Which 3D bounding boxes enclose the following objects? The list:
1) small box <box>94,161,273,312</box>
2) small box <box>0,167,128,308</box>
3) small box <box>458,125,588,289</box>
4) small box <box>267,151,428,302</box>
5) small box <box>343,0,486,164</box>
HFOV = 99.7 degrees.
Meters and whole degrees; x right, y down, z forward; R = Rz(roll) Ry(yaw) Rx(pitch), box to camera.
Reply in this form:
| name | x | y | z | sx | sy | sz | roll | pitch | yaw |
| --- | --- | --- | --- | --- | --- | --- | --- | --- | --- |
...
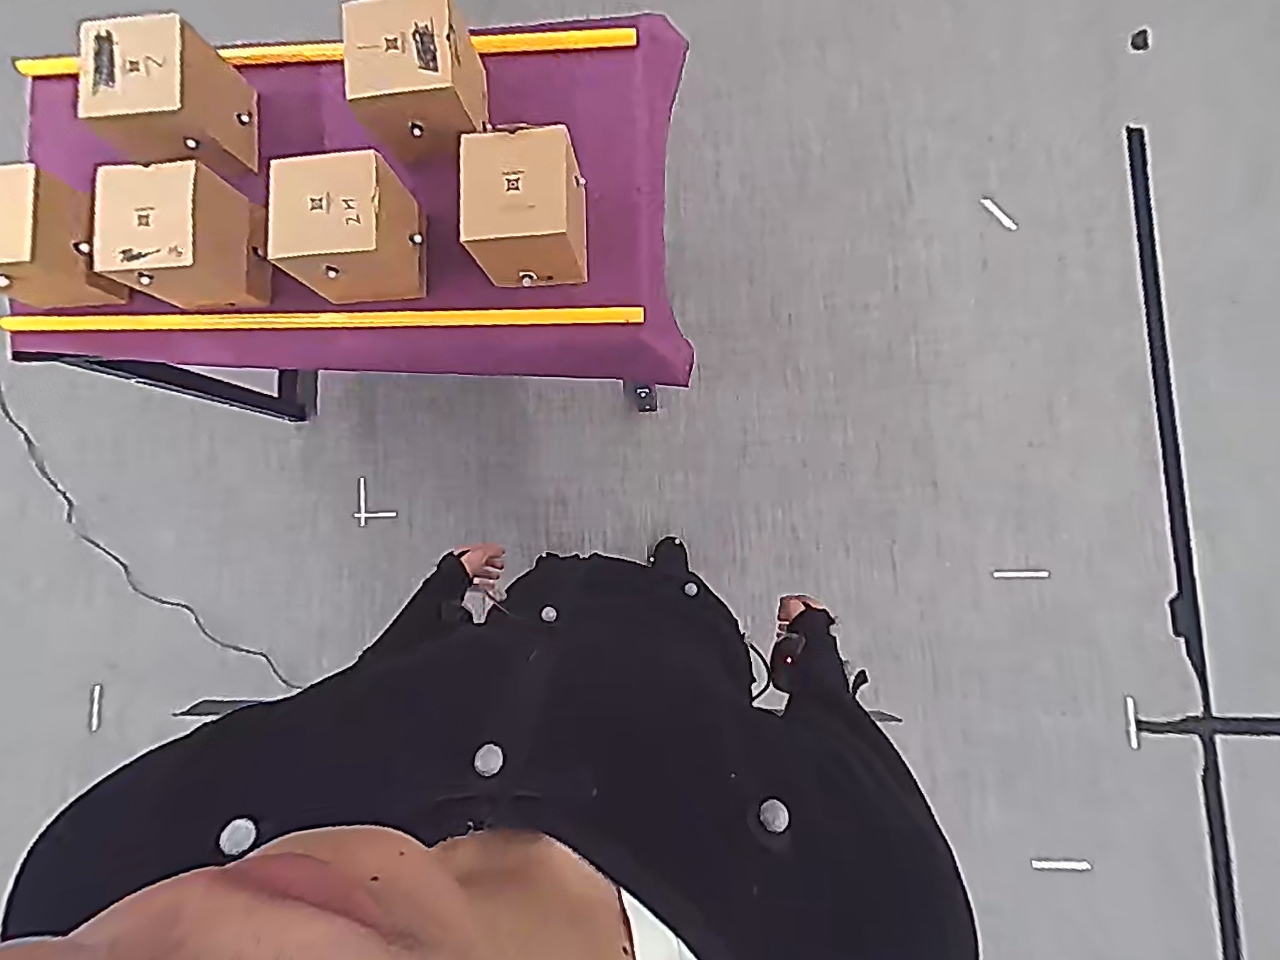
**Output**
| name | x | y | z | sx | sy | sz | roll | pitch | yaw |
| --- | --- | --- | --- | --- | --- | --- | --- | --- | --- |
| small box | -0.765 | -0.407 | 0.925 | 0.168 | 0.176 | 0.179 | -1 | 85 | 5 |
| small box | -1.044 | -0.413 | 0.945 | 0.179 | 0.176 | 0.168 | -2 | 85 | 4 |
| small box | -0.182 | -0.435 | 0.884 | 0.168 | 0.176 | 0.179 | -2 | 83 | 5 |
| small box | -0.479 | -0.411 | 0.905 | 0.179 | 0.176 | 0.168 | -2 | 84 | 4 |
| small box | -0.369 | -0.670 | 0.917 | 0.179 | 0.176 | 0.168 | -4 | 86 | 5 |
